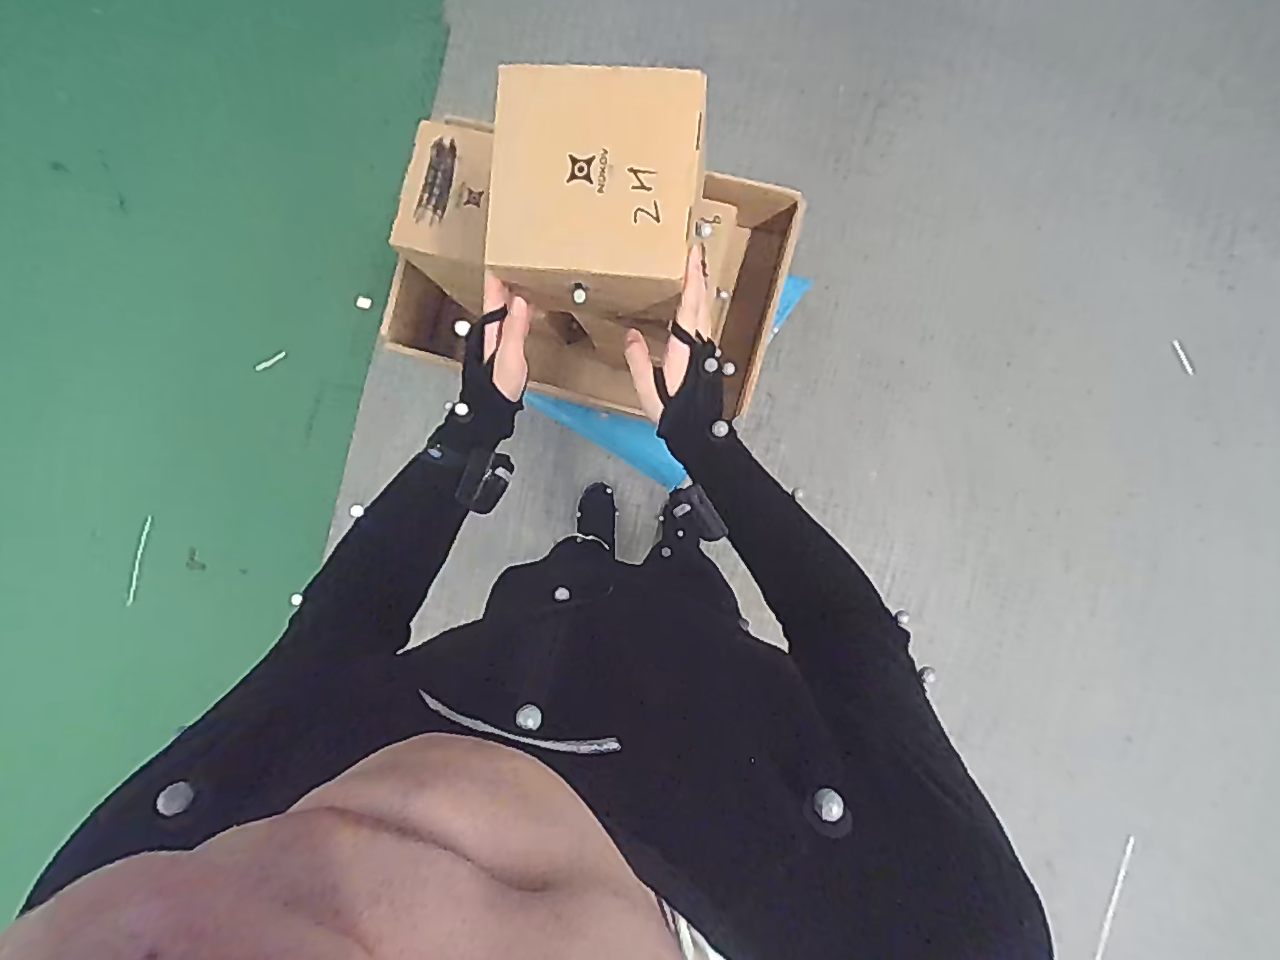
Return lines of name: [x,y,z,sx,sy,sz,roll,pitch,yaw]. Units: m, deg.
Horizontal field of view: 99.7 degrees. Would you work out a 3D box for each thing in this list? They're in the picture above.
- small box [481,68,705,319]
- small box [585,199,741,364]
small box: [-0.034,-0.262,0.531,0.179,0.176,0.168,7,96,7]
small box: [0.031,-0.269,0.738,0.179,0.176,0.168,15,92,9]
